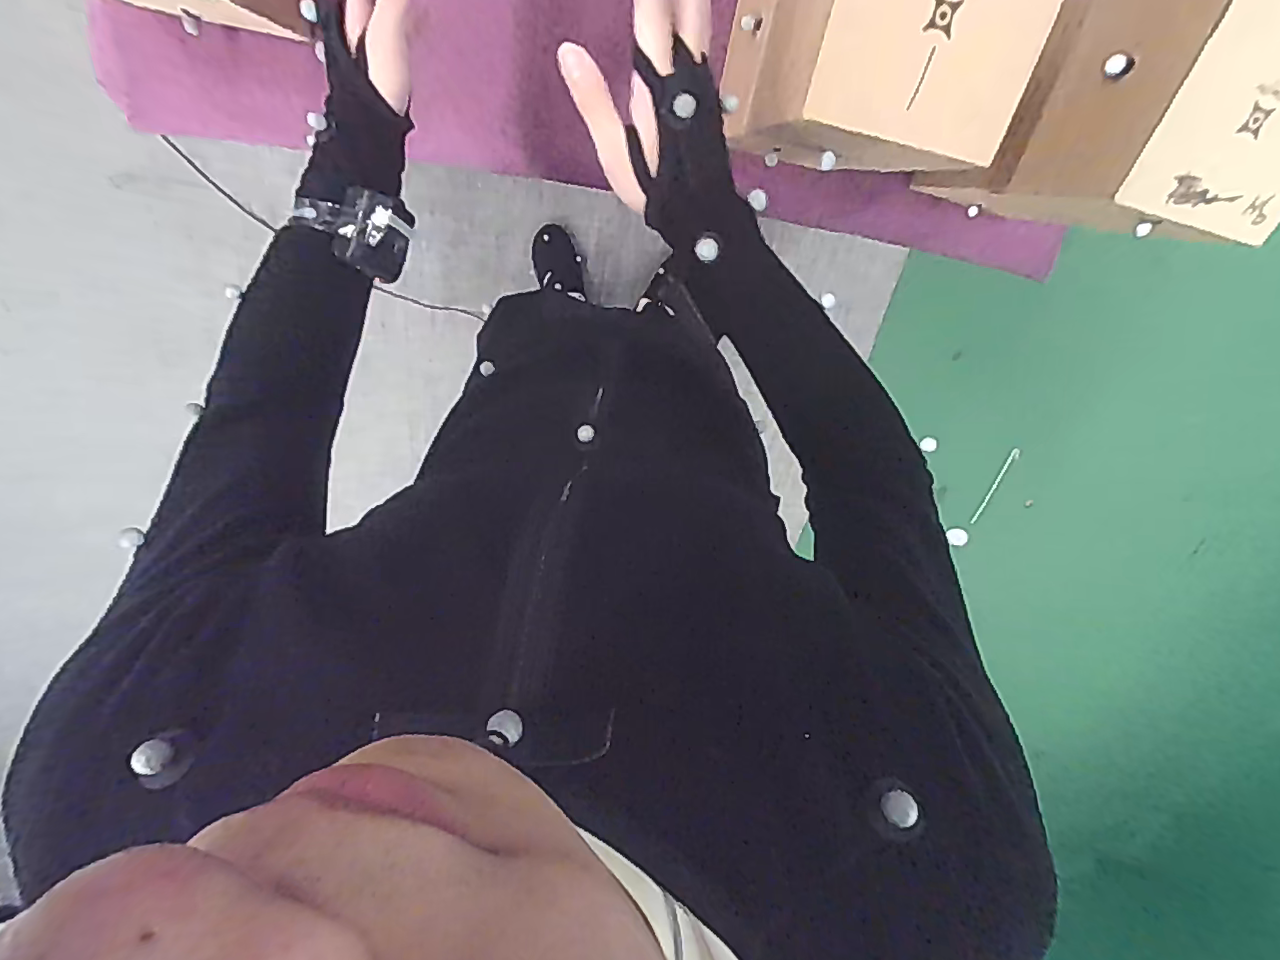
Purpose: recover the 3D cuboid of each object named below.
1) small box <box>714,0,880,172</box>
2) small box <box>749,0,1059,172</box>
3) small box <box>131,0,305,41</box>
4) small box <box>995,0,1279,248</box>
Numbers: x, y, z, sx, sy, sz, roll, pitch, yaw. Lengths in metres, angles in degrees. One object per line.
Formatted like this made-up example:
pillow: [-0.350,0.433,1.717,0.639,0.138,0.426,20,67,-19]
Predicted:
small box: [0.188,-0.450,0.591,0.168,0.176,0.179,7,117,-10]
small box: [0.205,-0.372,0.448,0.168,0.176,0.179,8,119,-10]
small box: [-0.424,-0.526,0.474,0.168,0.176,0.179,6,119,-9]
small box: [0.480,-0.333,0.498,0.168,0.176,0.179,10,118,-10]
